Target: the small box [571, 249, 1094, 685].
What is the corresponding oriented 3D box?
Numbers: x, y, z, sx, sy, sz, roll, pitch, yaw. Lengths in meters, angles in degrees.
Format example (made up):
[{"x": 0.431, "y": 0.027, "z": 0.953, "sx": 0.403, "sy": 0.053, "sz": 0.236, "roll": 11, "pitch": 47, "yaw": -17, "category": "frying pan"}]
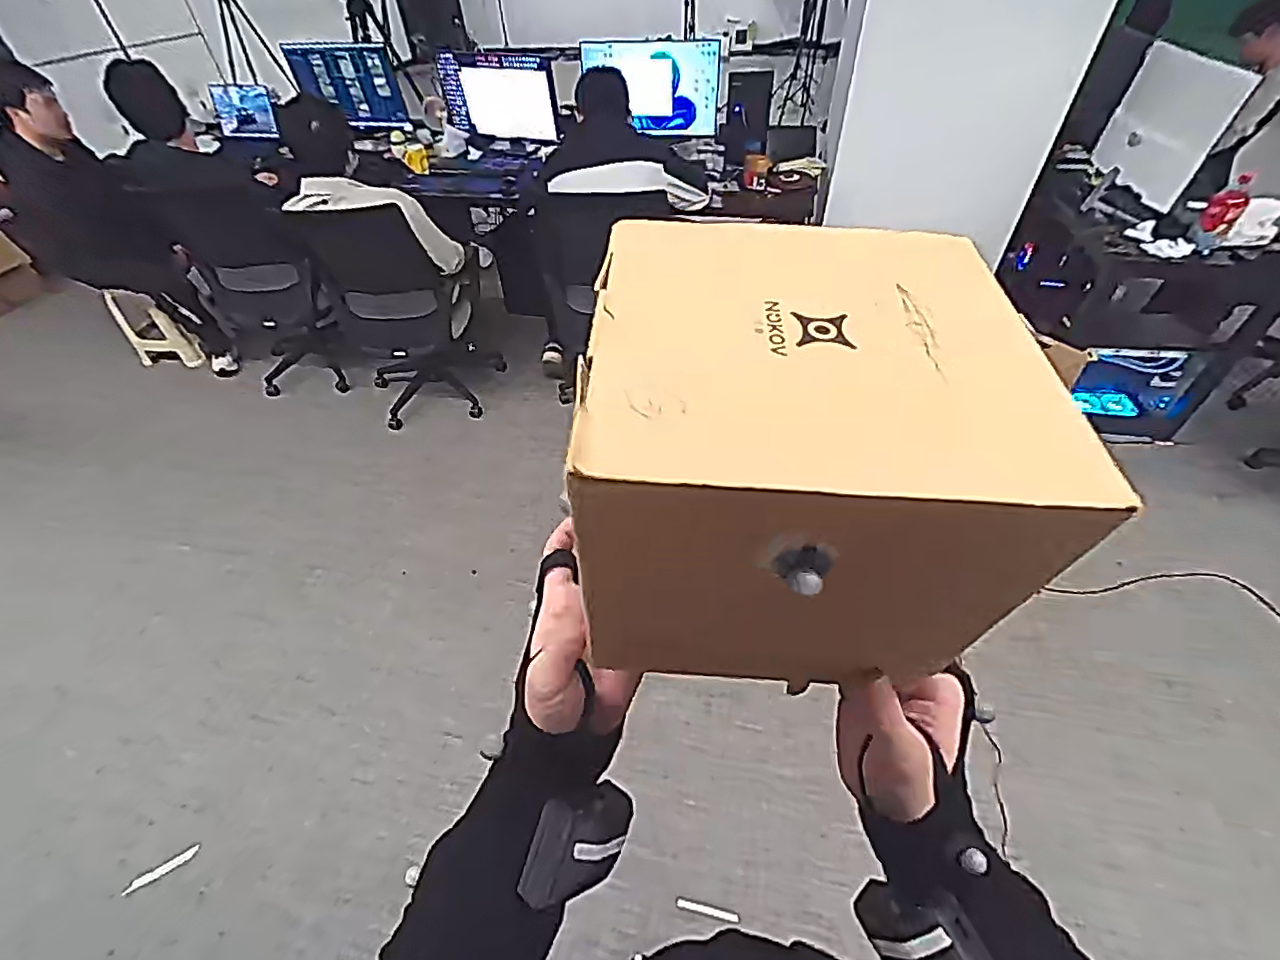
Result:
[{"x": 0.066, "y": -0.001, "z": 0.289, "sx": 0.179, "sy": 0.176, "sz": 0.168, "roll": 3, "pitch": 51, "yaw": 0, "category": "small box"}]
